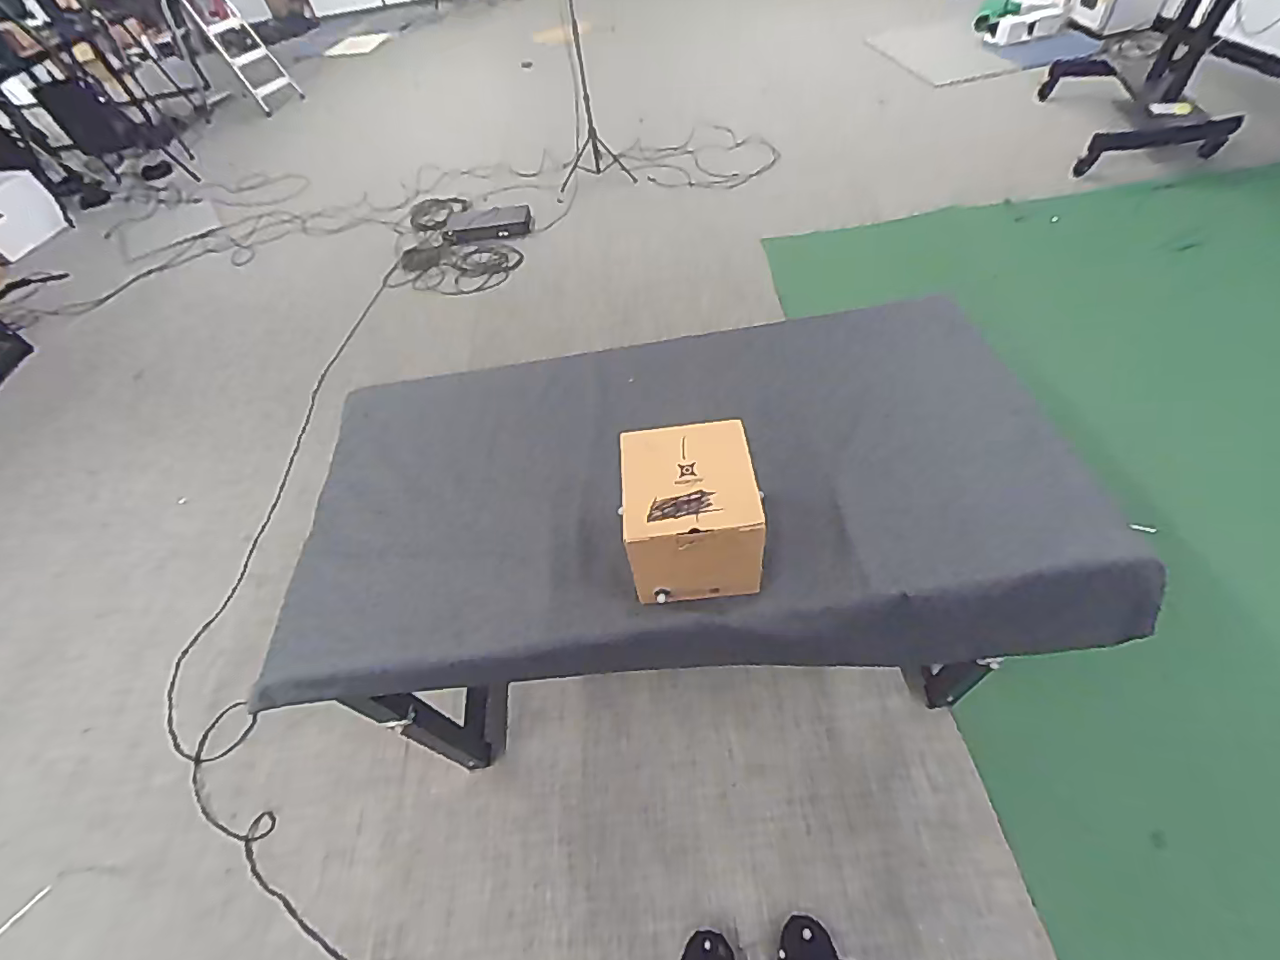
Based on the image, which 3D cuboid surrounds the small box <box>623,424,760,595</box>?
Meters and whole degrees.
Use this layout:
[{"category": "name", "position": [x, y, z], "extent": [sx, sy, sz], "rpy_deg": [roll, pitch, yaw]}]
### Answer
[{"category": "small box", "position": [0.069, 0.048, 0.747], "extent": [0.168, 0.176, 0.179], "rpy_deg": [-5, 50, 3]}]
